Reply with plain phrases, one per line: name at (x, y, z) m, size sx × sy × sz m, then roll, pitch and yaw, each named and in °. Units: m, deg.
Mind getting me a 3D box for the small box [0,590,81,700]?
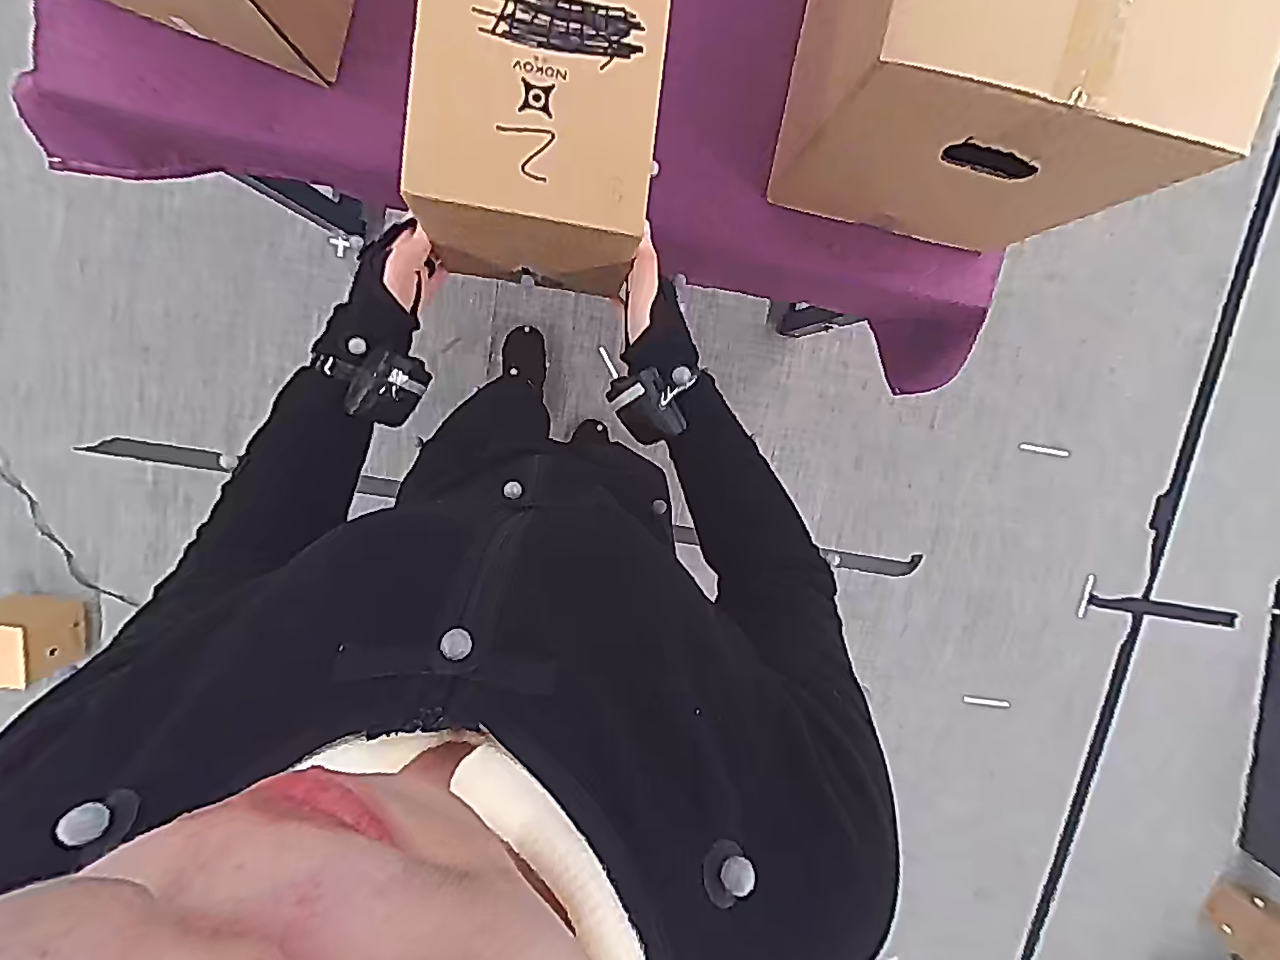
small box at (-1.572, 0.405, 1.335) m, size 0.168 × 0.176 × 0.179 m, roll 10°, pitch 119°, yaw 13°
